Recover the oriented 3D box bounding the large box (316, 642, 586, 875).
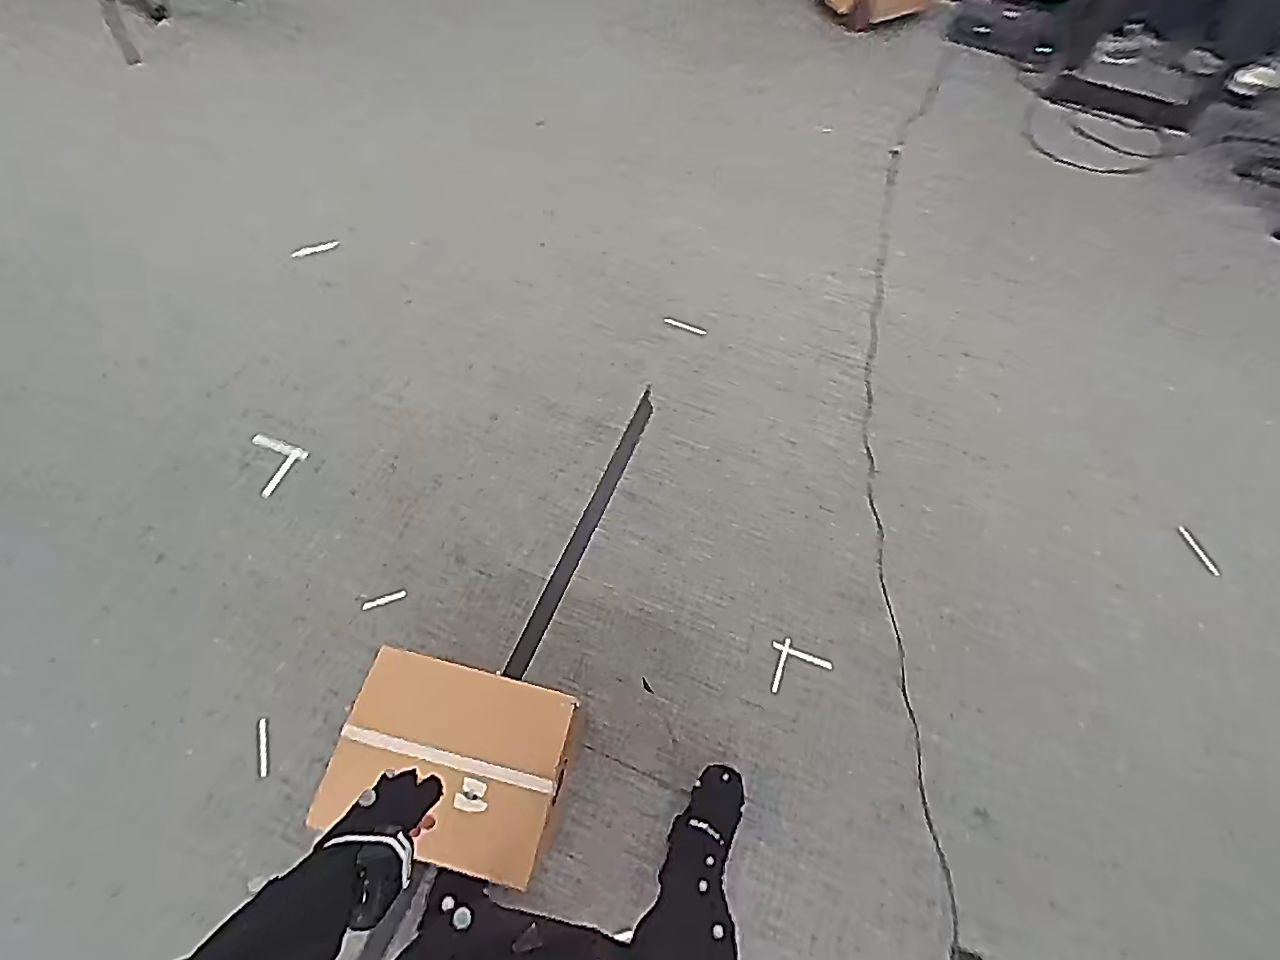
[{"bbox_3d":[-0.351,0.562,1.131,0.408,0.320,0.320,14,65,4],"label":"large box"}]
